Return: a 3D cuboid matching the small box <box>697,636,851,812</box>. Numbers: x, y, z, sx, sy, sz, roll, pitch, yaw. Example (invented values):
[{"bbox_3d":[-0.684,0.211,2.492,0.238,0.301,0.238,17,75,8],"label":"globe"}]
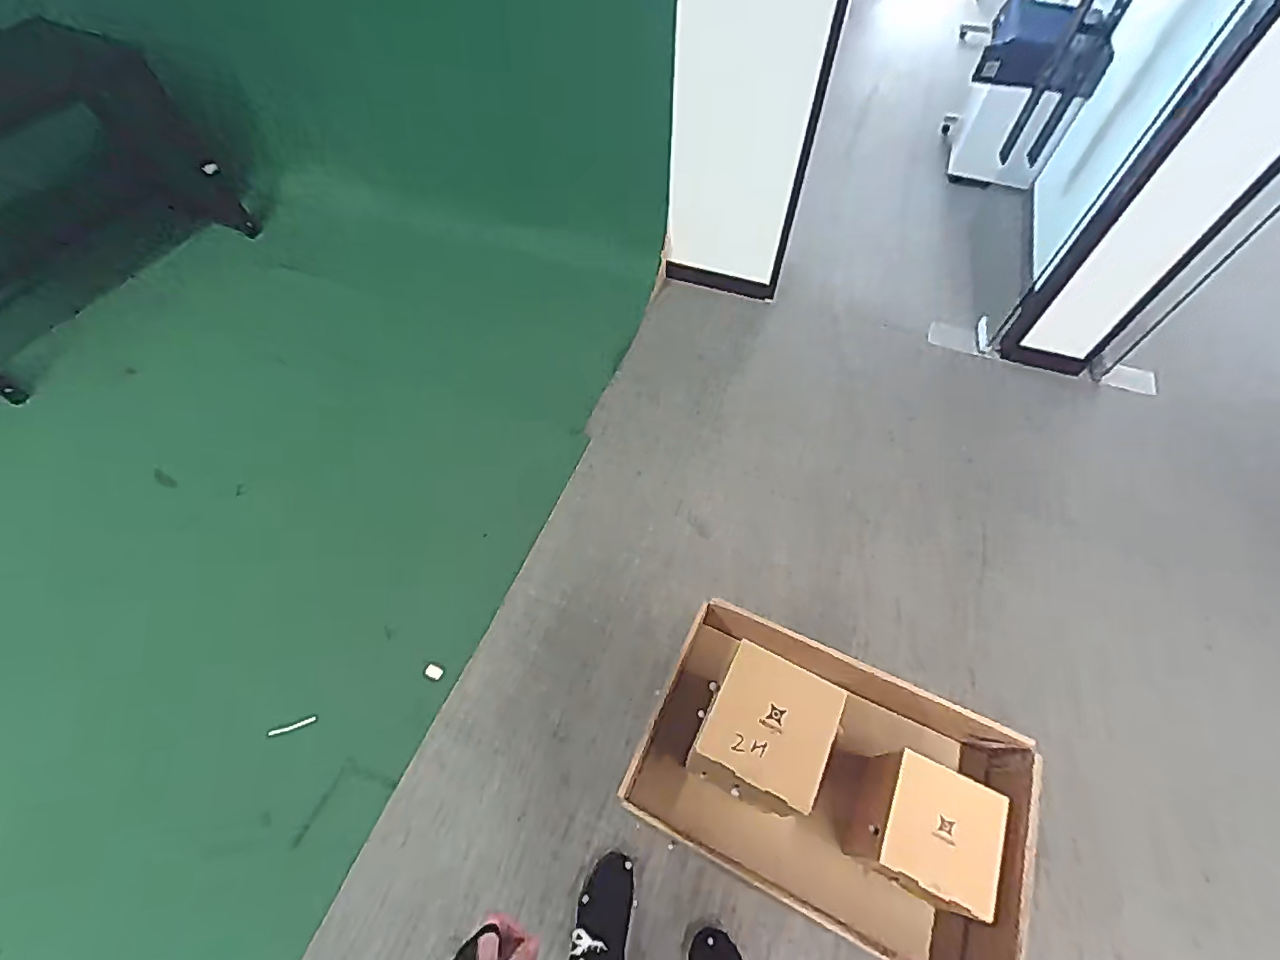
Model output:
[{"bbox_3d":[0.193,0.372,0.822,0.168,0.176,0.179,24,62,16],"label":"small box"}]
